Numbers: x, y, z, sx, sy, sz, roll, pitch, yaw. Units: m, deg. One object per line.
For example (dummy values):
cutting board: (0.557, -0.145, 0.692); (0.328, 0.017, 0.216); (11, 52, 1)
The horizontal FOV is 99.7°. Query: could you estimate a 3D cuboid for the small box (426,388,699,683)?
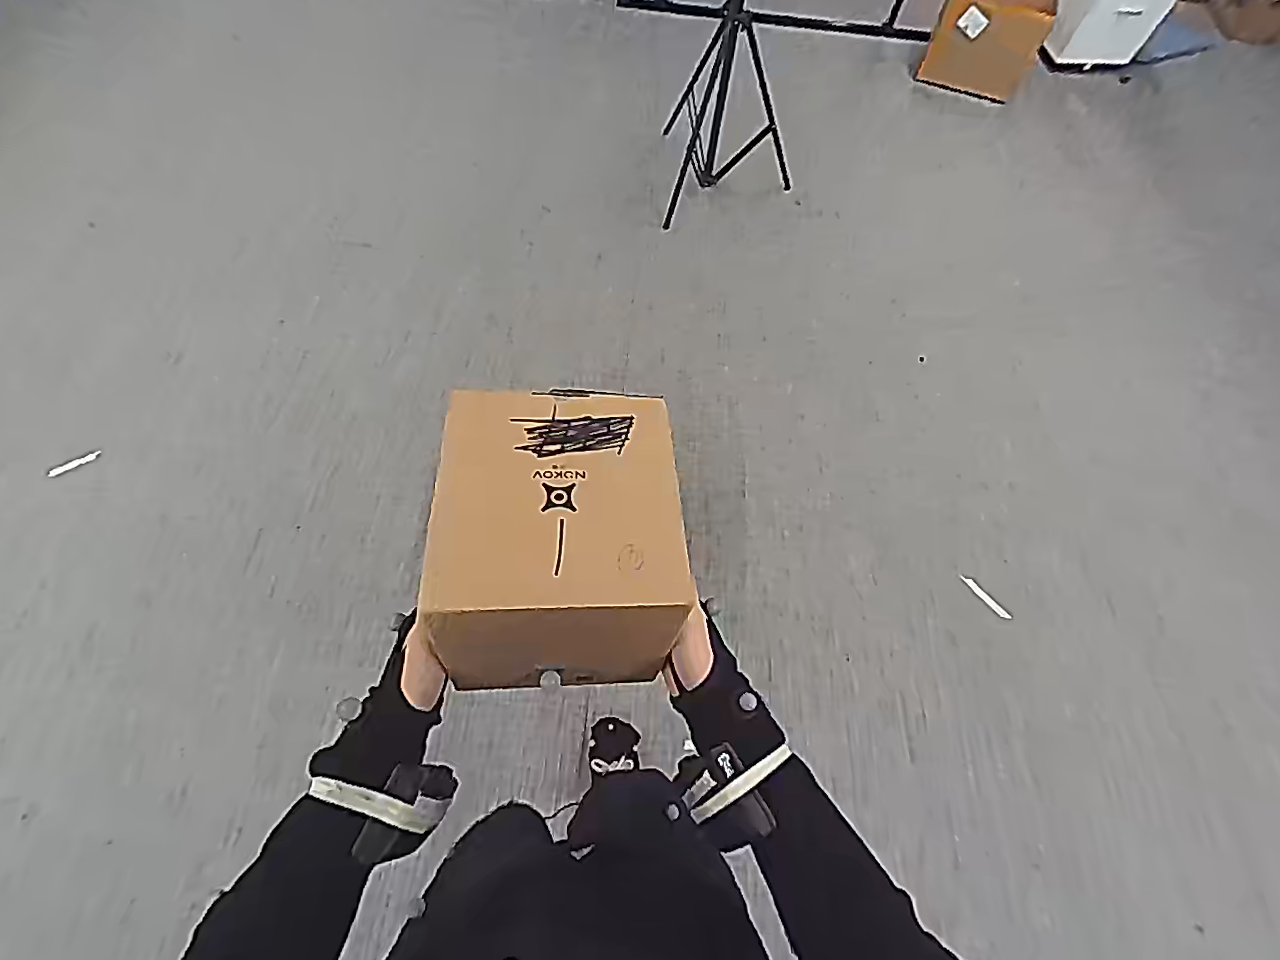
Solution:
small box: (-0.061, 0.048, 0.435); (0.168, 0.176, 0.179); (0, 55, -9)
